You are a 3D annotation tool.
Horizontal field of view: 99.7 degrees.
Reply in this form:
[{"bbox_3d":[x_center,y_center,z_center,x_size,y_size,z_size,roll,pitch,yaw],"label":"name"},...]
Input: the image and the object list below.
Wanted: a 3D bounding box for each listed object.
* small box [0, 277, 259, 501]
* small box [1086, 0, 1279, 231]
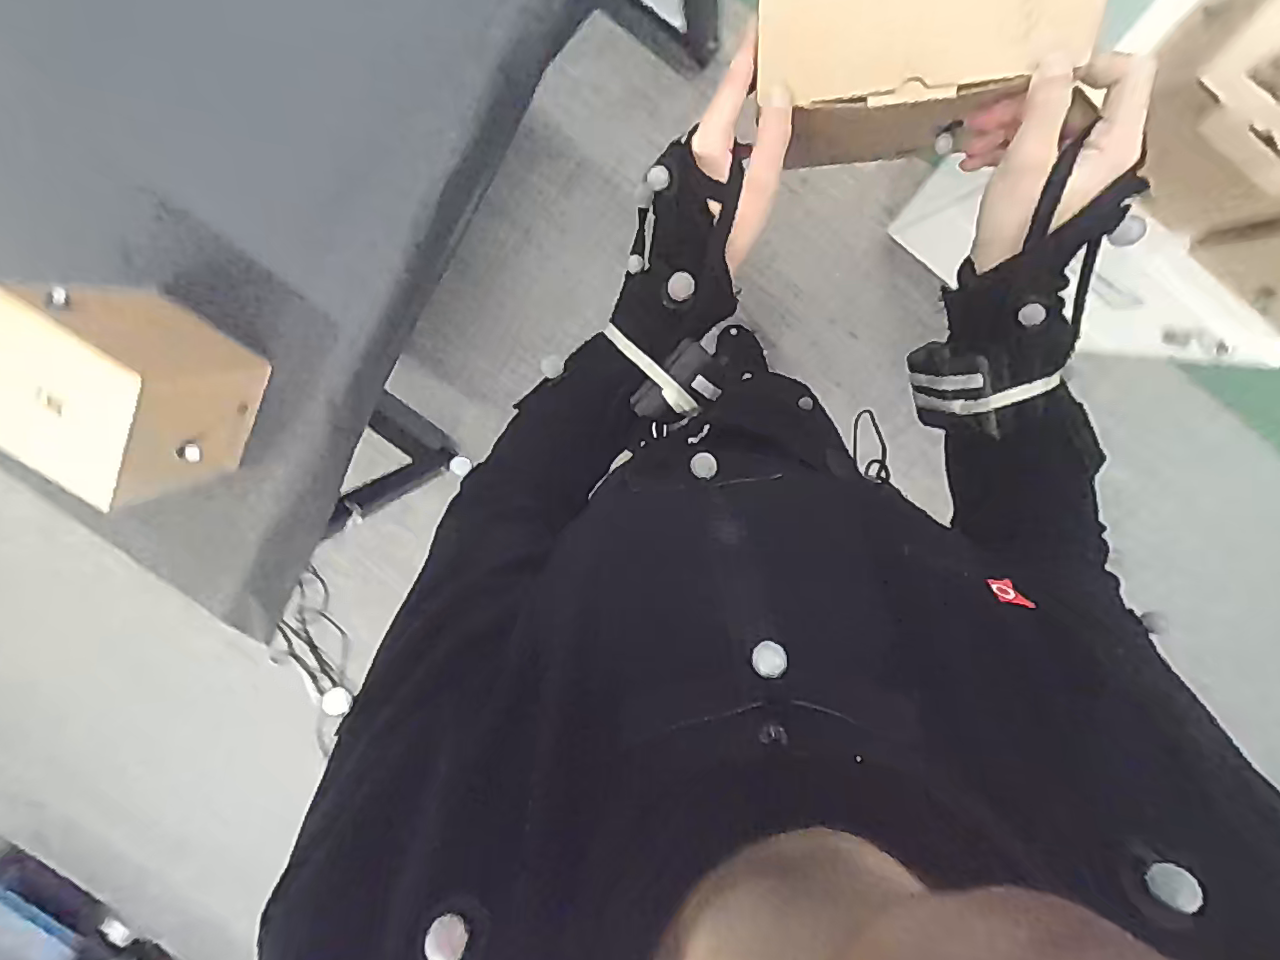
[{"bbox_3d":[-0.582,-0.109,0.606,0.179,0.176,0.168,33,108,-2],"label":"small box"},{"bbox_3d":[0.582,-0.367,0.512,0.168,0.176,0.179,38,106,-5],"label":"small box"}]
